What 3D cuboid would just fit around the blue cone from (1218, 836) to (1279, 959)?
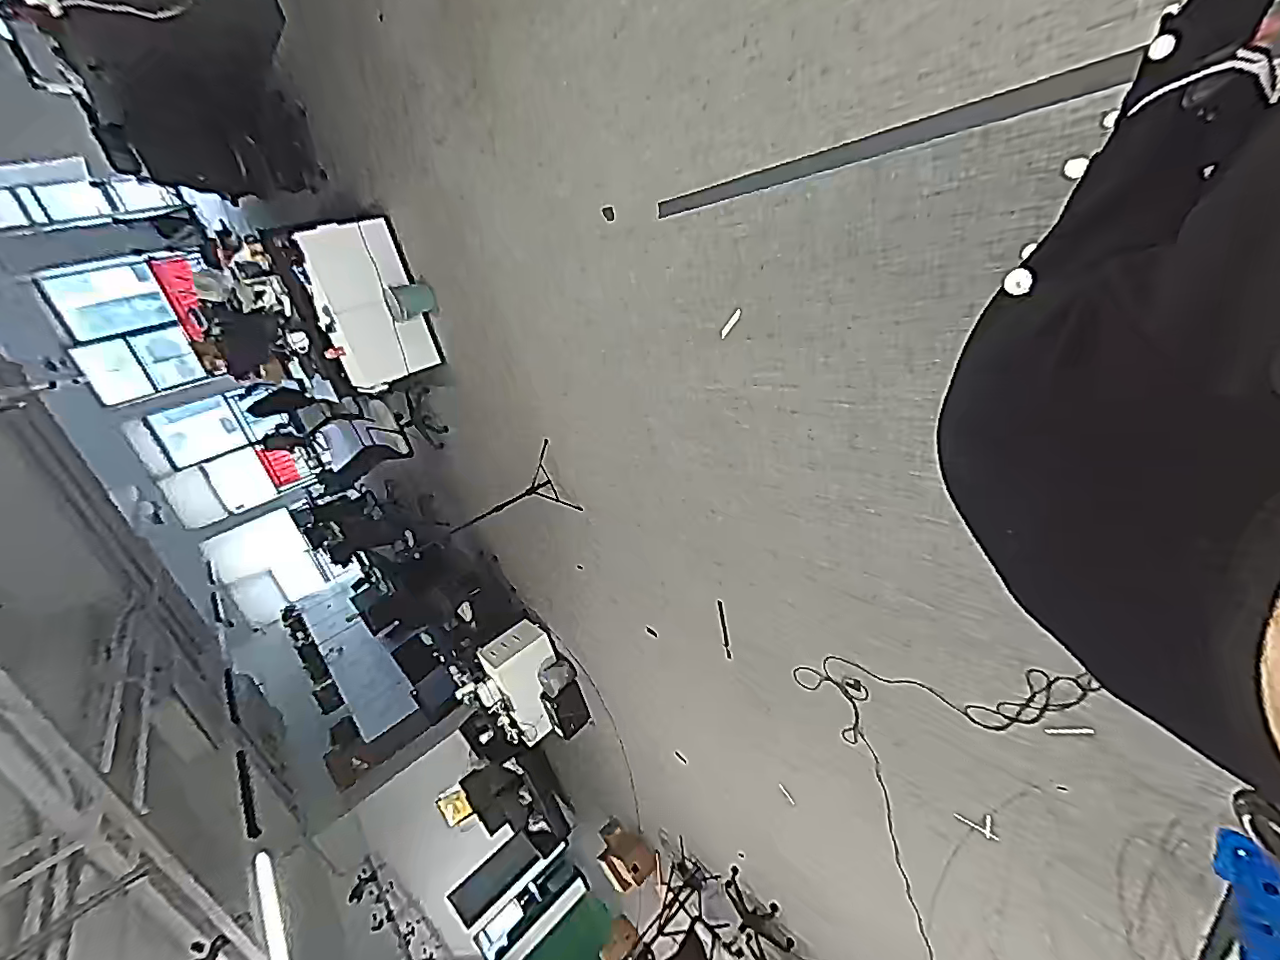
[{"bbox_3d":[1.512,1.090,1.300,0.192,0.380,0.193,10,124,49],"label":"blue cone"}]
